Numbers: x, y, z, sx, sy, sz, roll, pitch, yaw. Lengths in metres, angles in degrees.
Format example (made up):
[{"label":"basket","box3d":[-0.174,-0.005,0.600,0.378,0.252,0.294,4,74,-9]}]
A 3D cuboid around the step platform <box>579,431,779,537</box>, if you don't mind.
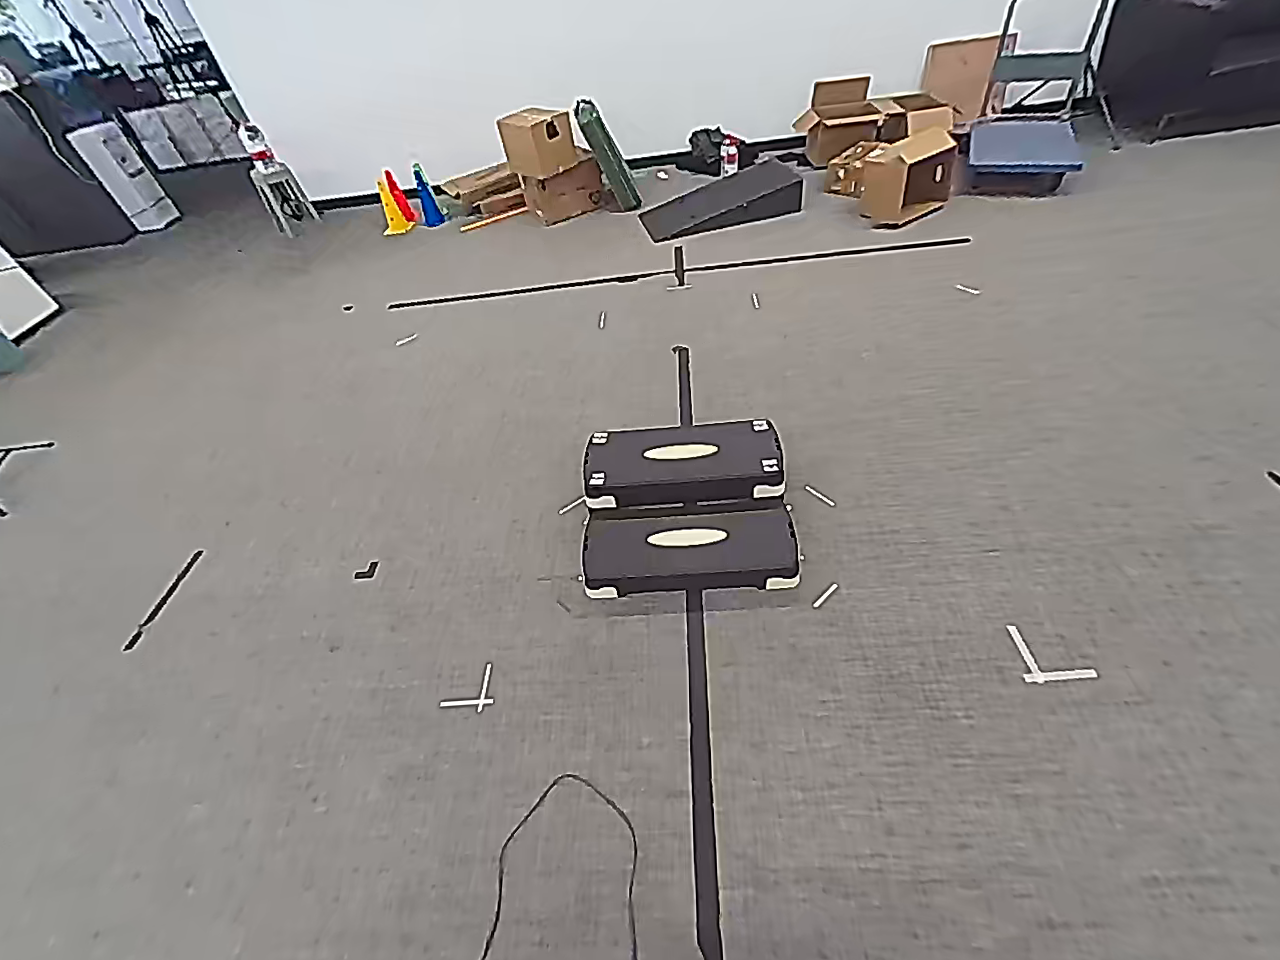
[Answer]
[{"label":"step platform","box3d":[0.130,0.007,1.876,0.684,0.204,0.286,-4,46,4]}]
